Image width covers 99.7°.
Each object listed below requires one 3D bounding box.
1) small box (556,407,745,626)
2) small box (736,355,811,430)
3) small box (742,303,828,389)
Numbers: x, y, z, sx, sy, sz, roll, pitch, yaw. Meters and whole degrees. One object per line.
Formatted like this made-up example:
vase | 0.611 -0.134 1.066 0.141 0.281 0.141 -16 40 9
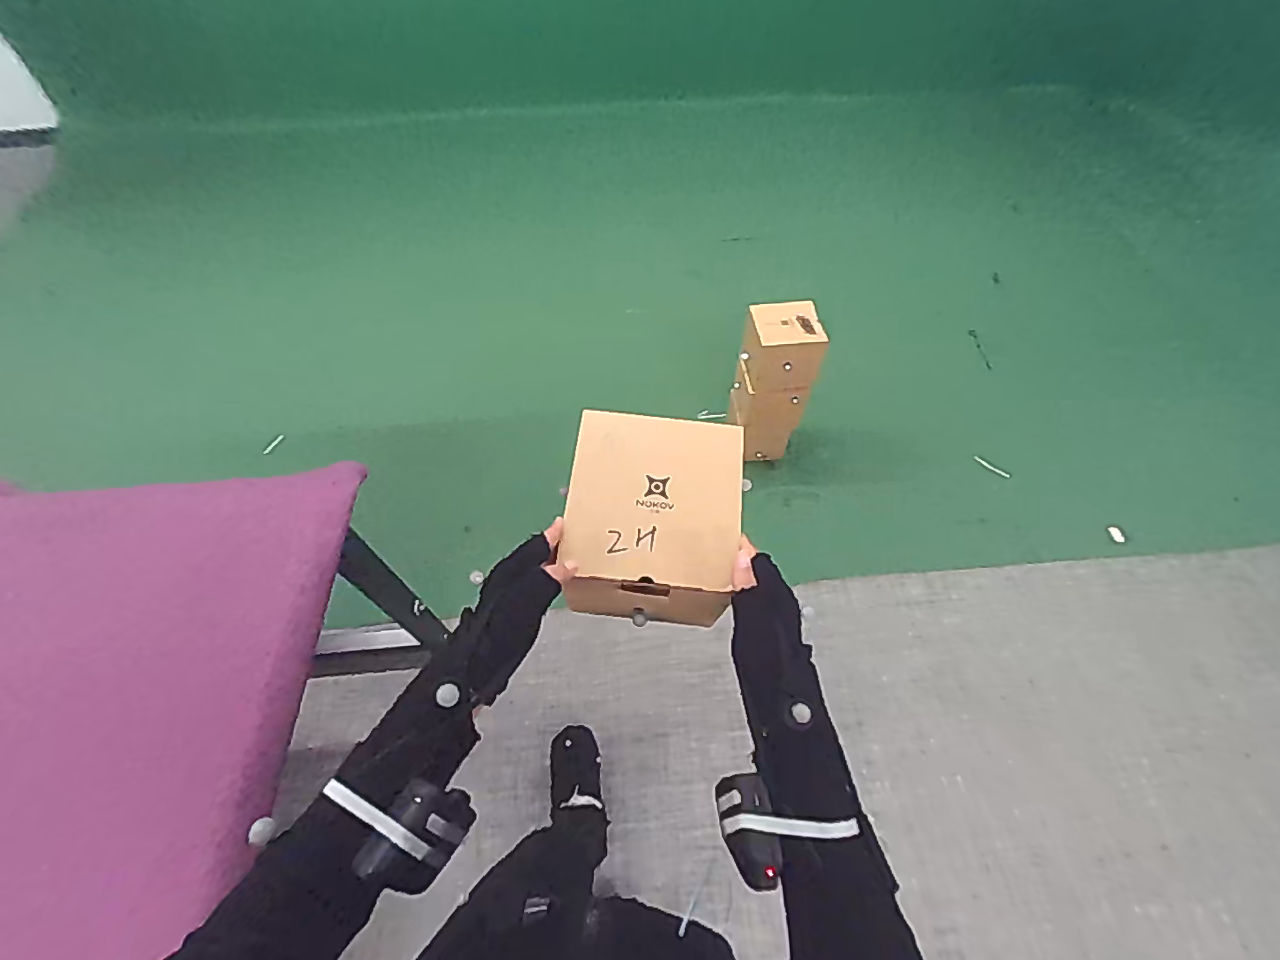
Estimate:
small box | 0.013 0.046 0.586 0.168 0.176 0.179 7 65 2
small box | 0.389 -0.263 1.620 0.179 0.176 0.168 -4 56 -2
small box | 0.392 -0.367 1.489 0.179 0.176 0.168 -2 54 -2
